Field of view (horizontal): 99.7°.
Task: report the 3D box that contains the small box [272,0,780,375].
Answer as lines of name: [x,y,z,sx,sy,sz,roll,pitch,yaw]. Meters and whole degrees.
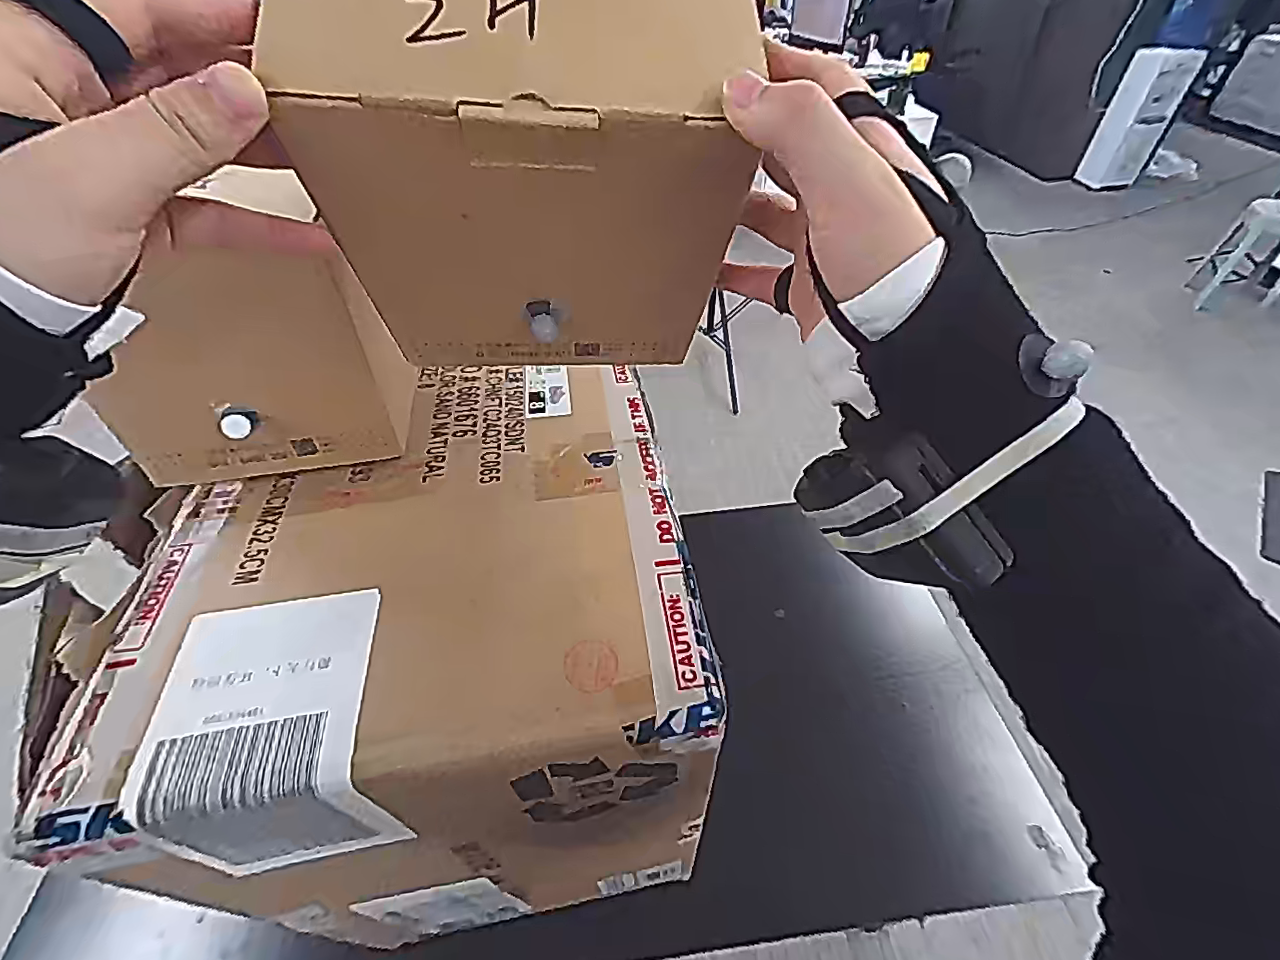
small box: [-0.046,-0.173,0.277,0.168,0.176,0.179,-2,72,-7]

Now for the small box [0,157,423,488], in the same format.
small box: [-0.266,-0.118,0.392,0.168,0.176,0.179,-8,44,-9]
